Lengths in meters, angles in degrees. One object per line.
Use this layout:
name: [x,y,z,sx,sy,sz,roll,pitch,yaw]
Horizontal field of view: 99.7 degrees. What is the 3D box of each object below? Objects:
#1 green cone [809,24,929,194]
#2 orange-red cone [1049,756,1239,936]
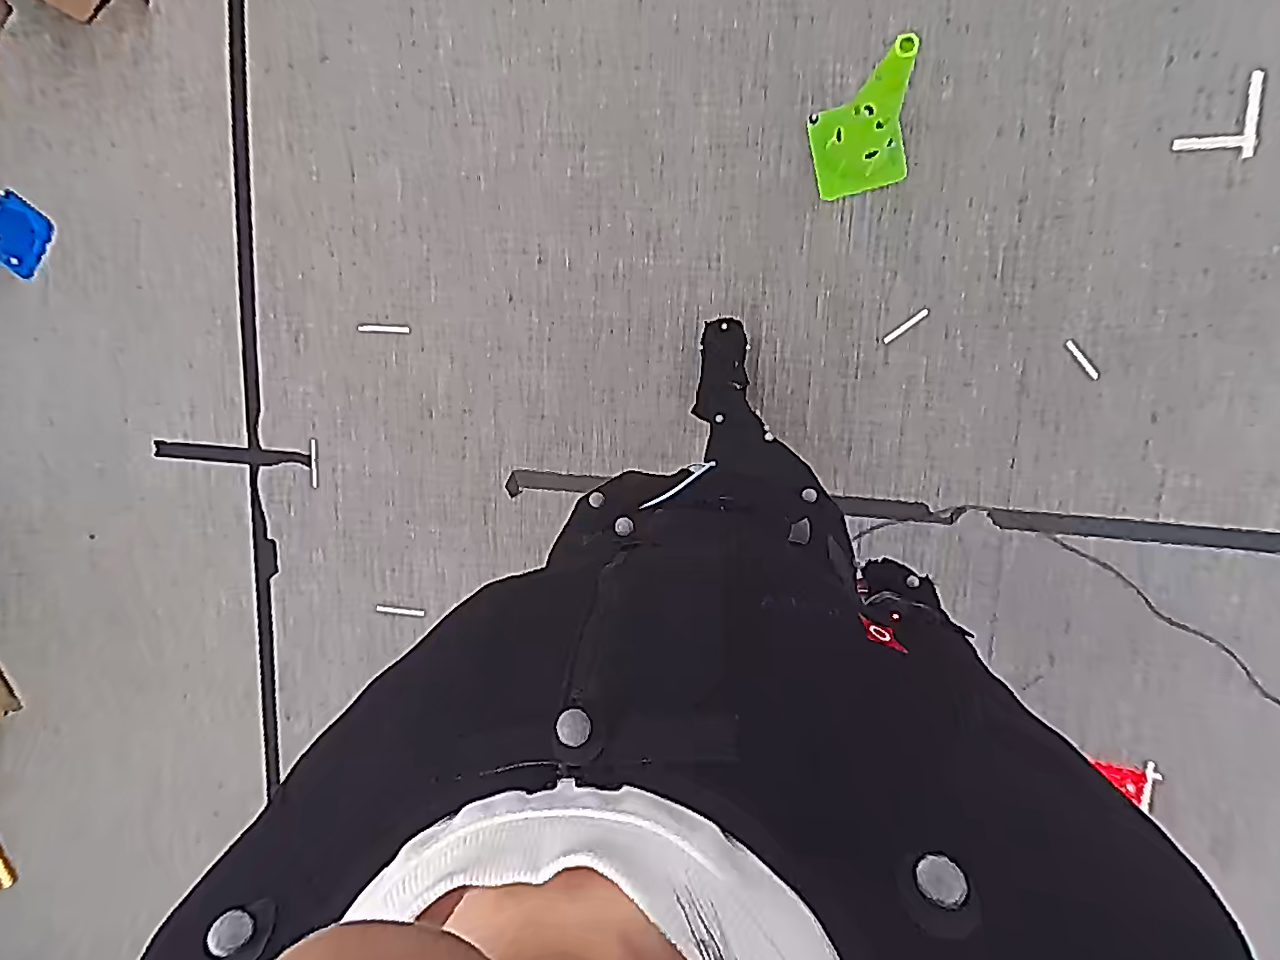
green cone: [0.484,-0.762,1.085,0.202,0.368,0.200,-12,95,9]
orange-red cone: [1.106,0.806,1.166,0.199,0.360,0.198,11,97,8]
